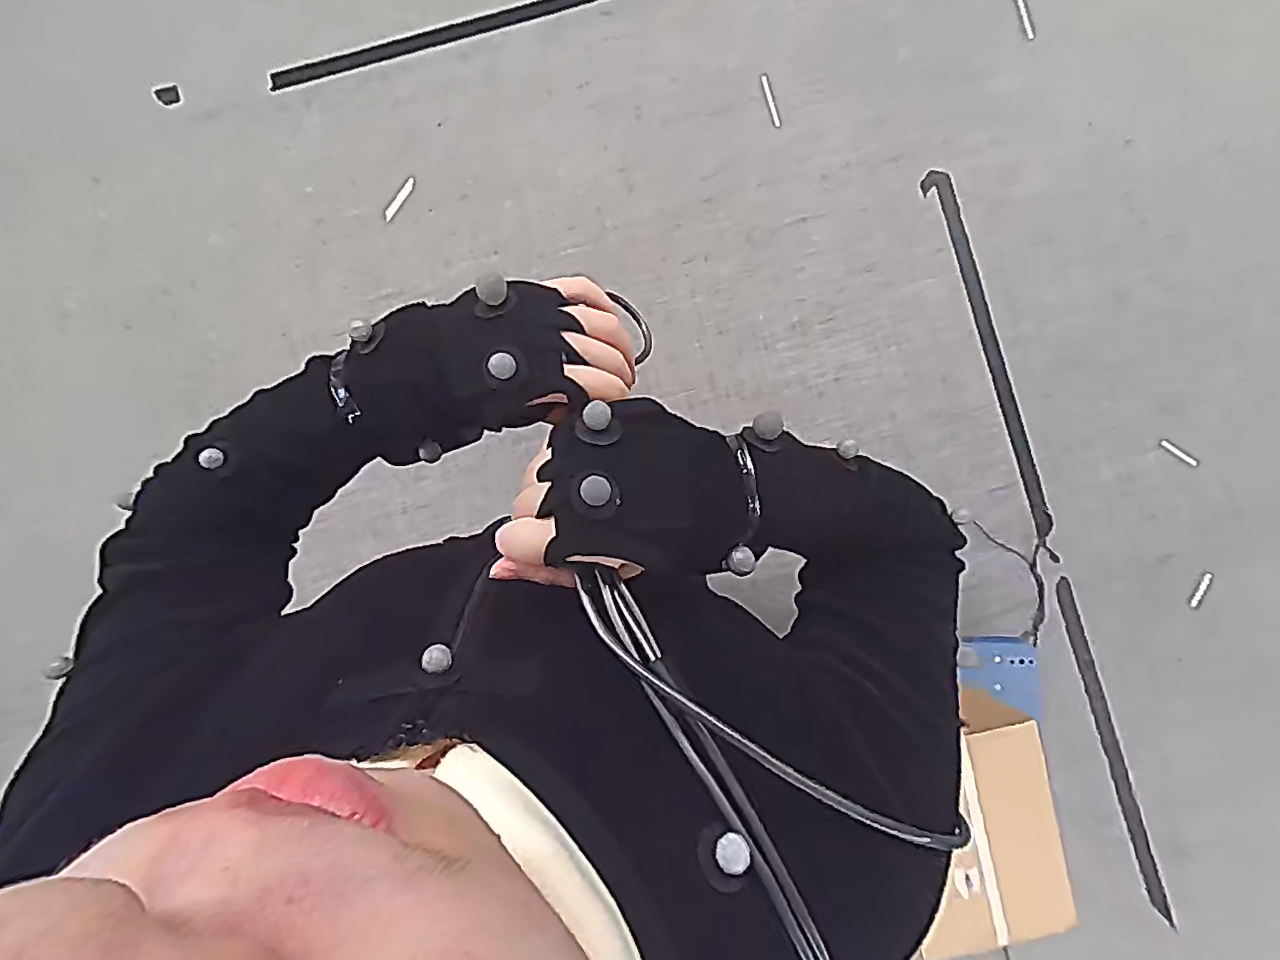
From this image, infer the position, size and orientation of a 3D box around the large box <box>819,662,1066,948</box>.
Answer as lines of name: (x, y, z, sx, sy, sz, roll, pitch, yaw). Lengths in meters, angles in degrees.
large box: (0.629, 0.671, 1.185, 0.320, 0.320, 0.408, -11, 90, -1)
